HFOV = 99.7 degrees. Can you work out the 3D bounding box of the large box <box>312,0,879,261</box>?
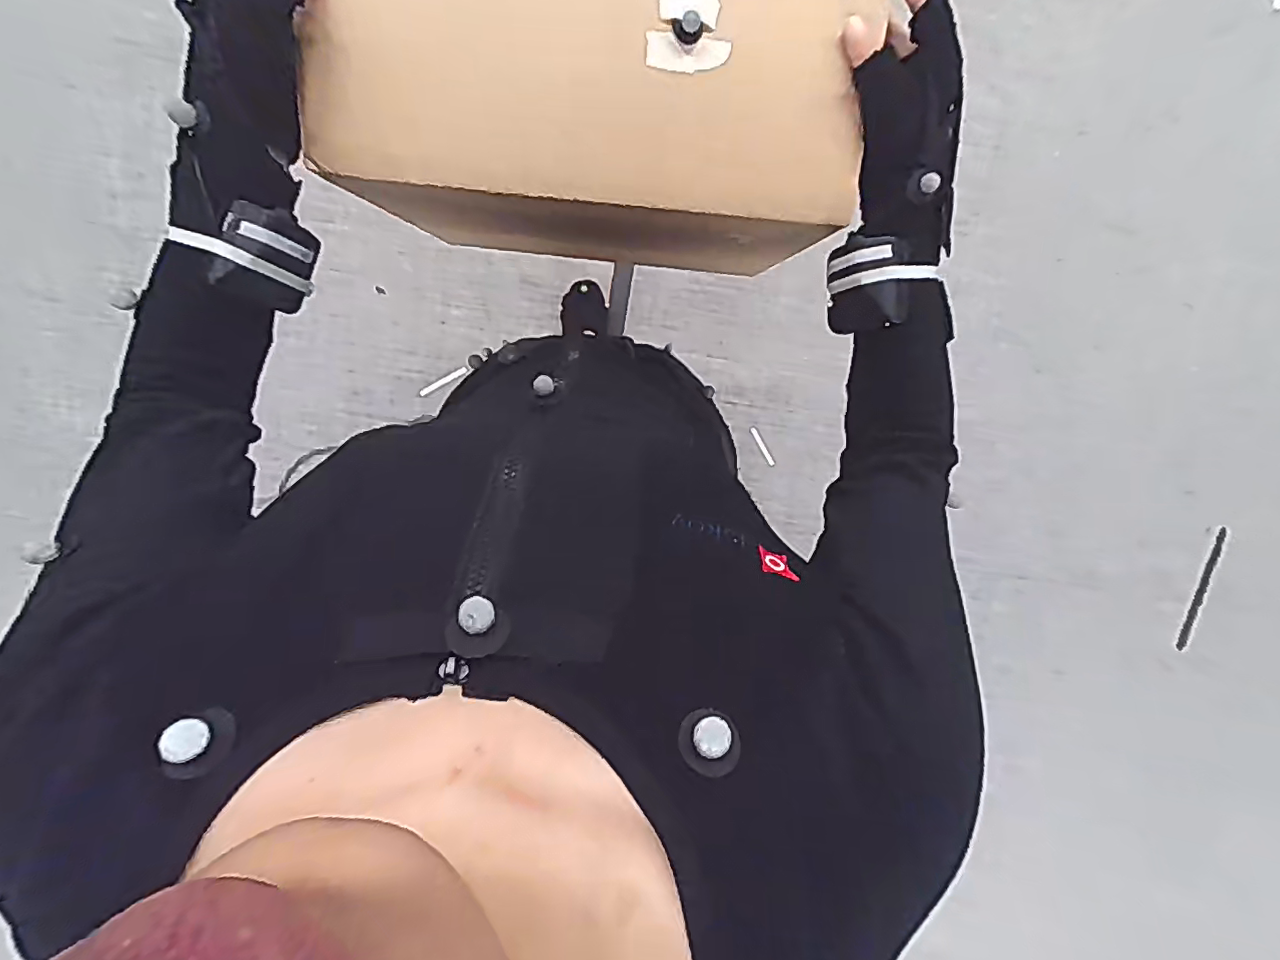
[{"bbox_3d":[-0.032,-0.407,0.515,0.408,0.320,0.320,4,105,-3],"label":"large box"}]
